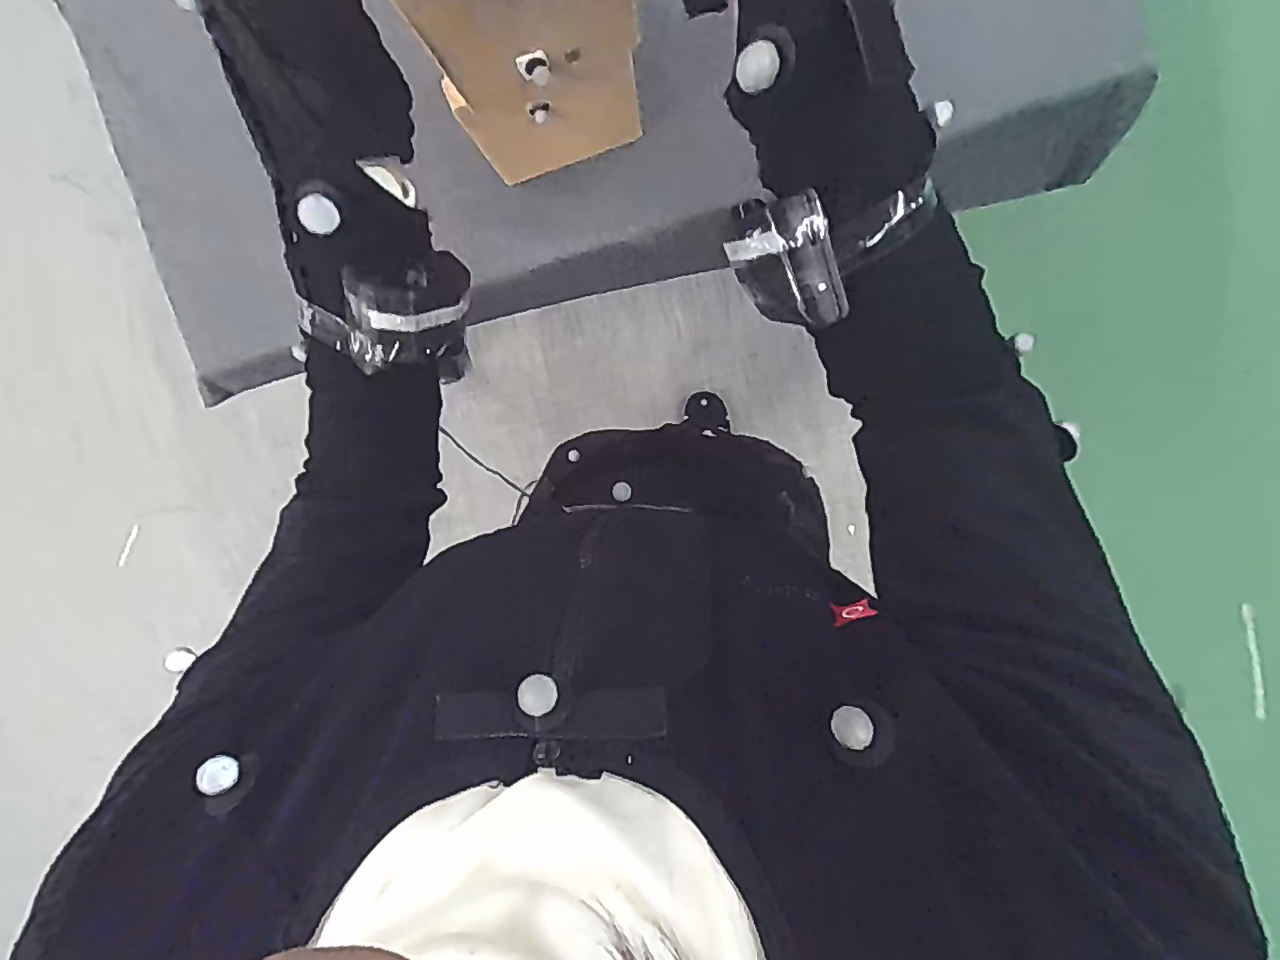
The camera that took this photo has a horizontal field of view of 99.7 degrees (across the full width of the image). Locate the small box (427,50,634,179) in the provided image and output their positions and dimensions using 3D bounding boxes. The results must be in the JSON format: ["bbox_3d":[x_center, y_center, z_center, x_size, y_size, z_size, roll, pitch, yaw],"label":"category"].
[{"bbox_3d":[-0.115,-0.454,0.571,0.179,0.176,0.168,-16,95,6],"label":"small box"}]

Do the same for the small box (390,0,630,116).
[{"bbox_3d":[-0.118,-0.432,0.410,0.168,0.176,0.179,-20,96,9],"label":"small box"}]
